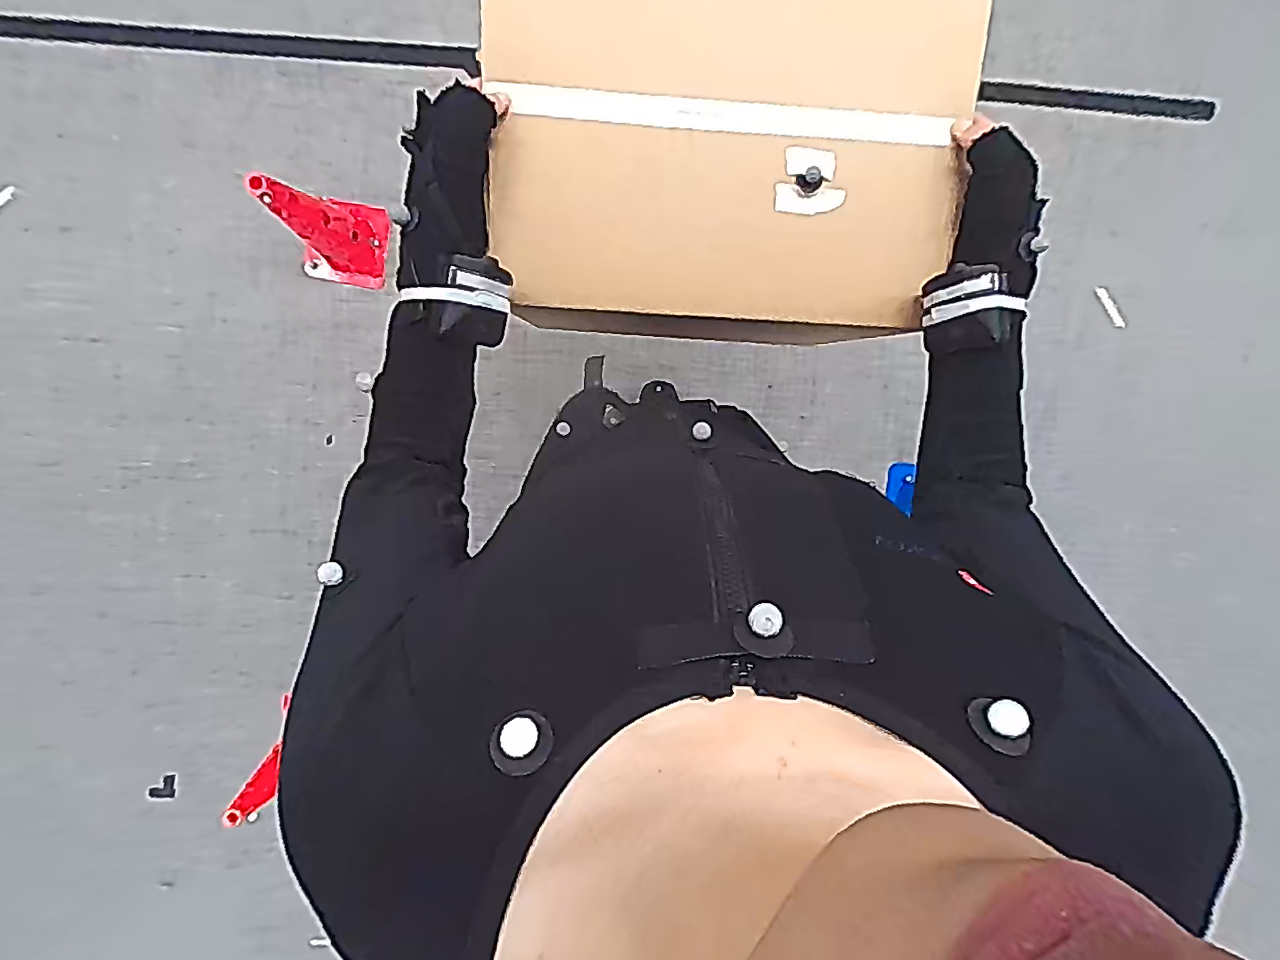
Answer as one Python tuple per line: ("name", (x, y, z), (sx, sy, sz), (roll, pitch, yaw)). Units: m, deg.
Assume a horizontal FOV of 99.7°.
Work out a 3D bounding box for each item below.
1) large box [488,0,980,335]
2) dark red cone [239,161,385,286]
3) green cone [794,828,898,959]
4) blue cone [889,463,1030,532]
("large box", (0.067, -0.334, 0.594), (0.408, 0.320, 0.320), (2, 102, -4))
("dark red cone", (-0.728, -0.578, 1.177), (0.201, 0.394, 0.202), (8, 96, -4))
("green cone", (0.594, 1.174, 1.438), (0.202, 0.368, 0.200), (-35, 97, 0))
("blue cone", (0.804, 0.066, 1.348), (0.192, 0.380, 0.193), (6, 96, -4))
